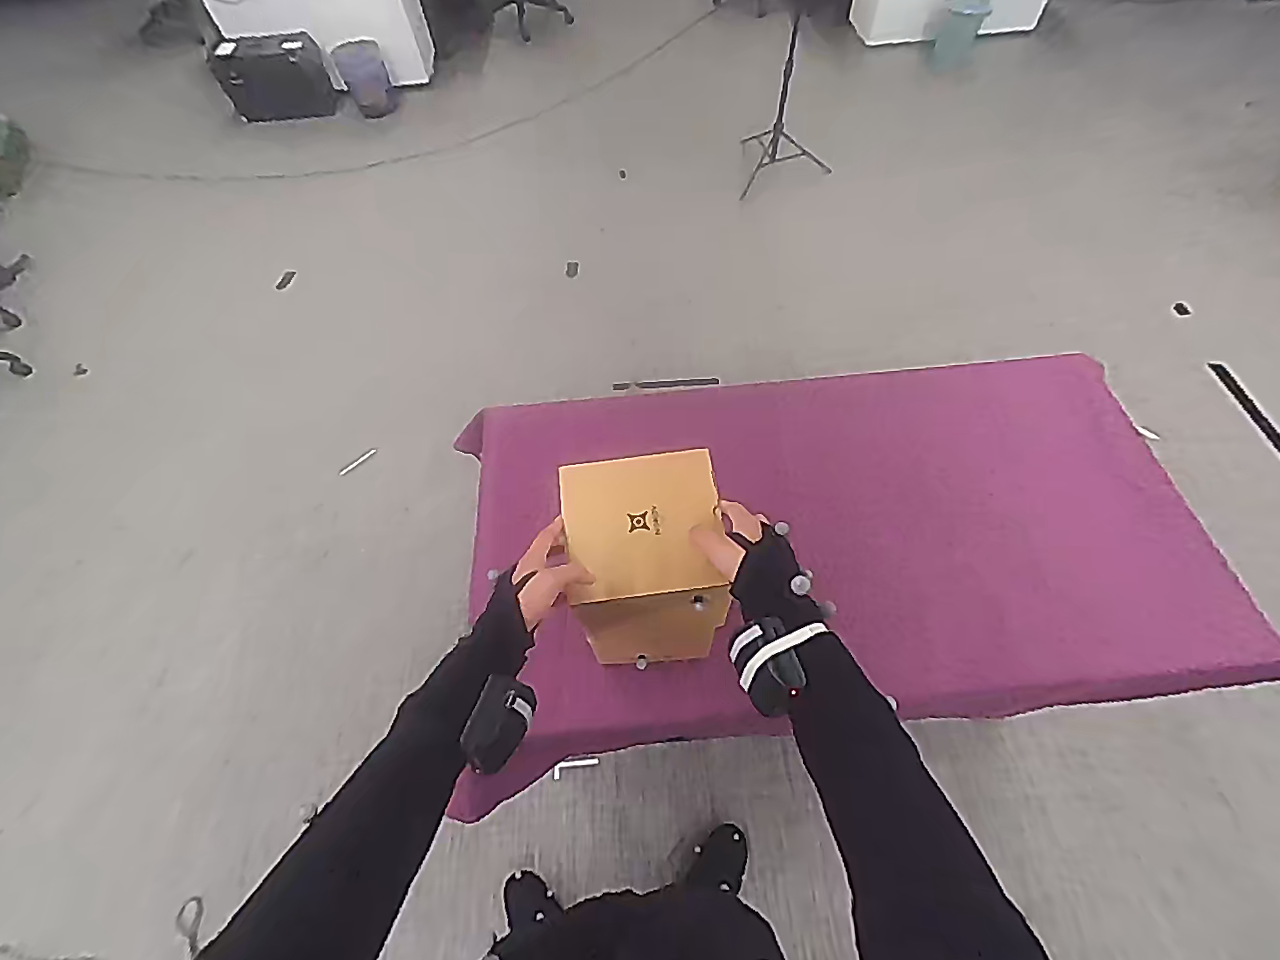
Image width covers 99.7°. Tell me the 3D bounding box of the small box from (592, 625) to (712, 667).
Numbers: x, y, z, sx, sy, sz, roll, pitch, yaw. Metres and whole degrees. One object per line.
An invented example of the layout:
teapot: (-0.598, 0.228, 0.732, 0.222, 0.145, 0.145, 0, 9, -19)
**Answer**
small box: (0.009, 0.162, 0.787, 0.168, 0.176, 0.179, -5, 60, 1)

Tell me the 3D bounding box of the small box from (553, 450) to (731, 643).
small box: (0.001, 0.086, 0.641, 0.179, 0.176, 0.168, -7, 61, -1)
